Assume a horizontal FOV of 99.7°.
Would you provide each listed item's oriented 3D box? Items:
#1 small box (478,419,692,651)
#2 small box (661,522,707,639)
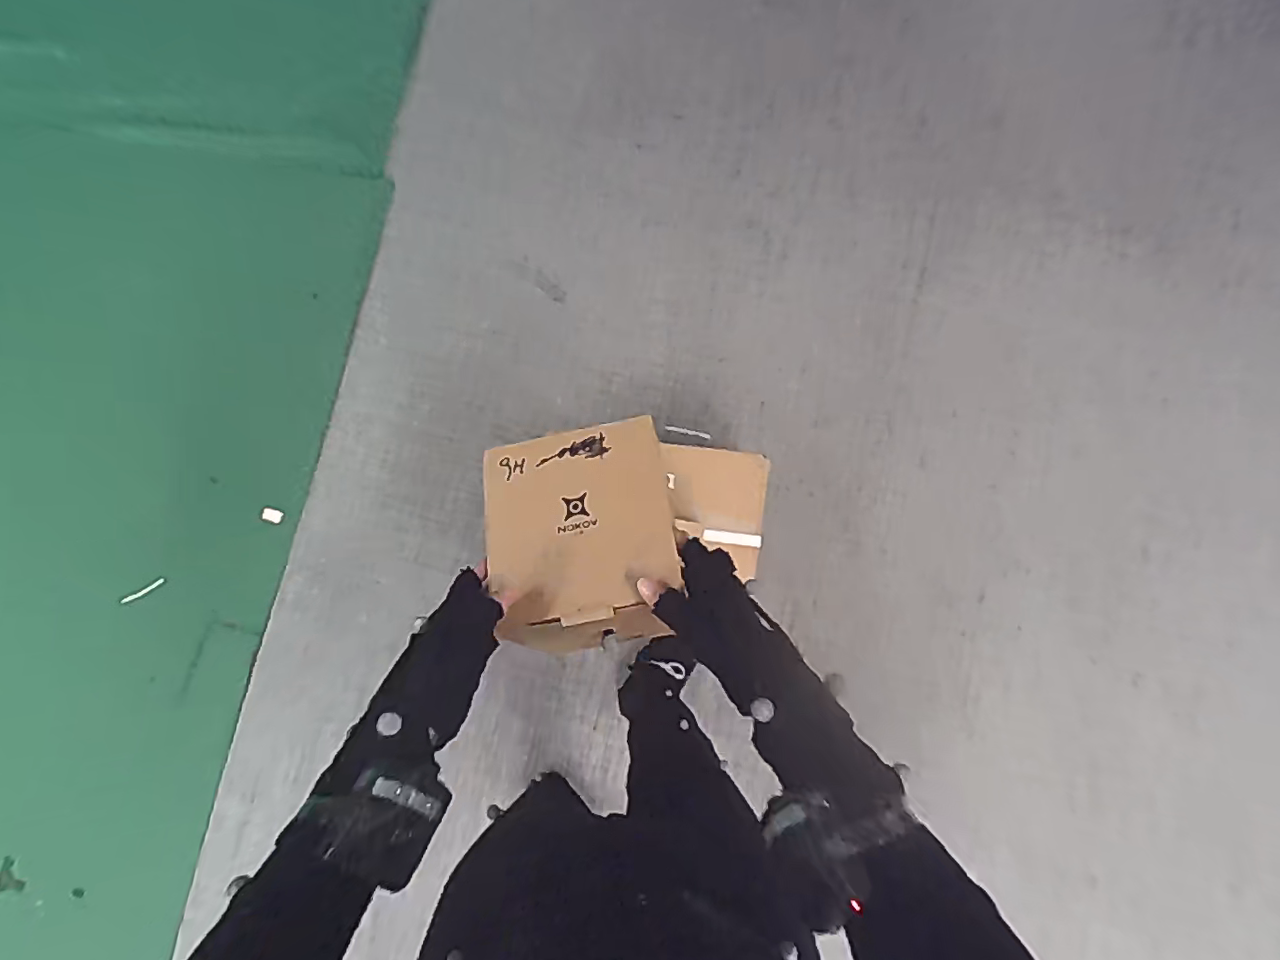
[{"bbox_3d":[-0.047,0.068,0.539,0.168,0.176,0.179,-12,66,4],"label":"small box"},{"bbox_3d":[0.006,0.142,0.866,0.179,0.176,0.168,10,87,5],"label":"small box"}]
